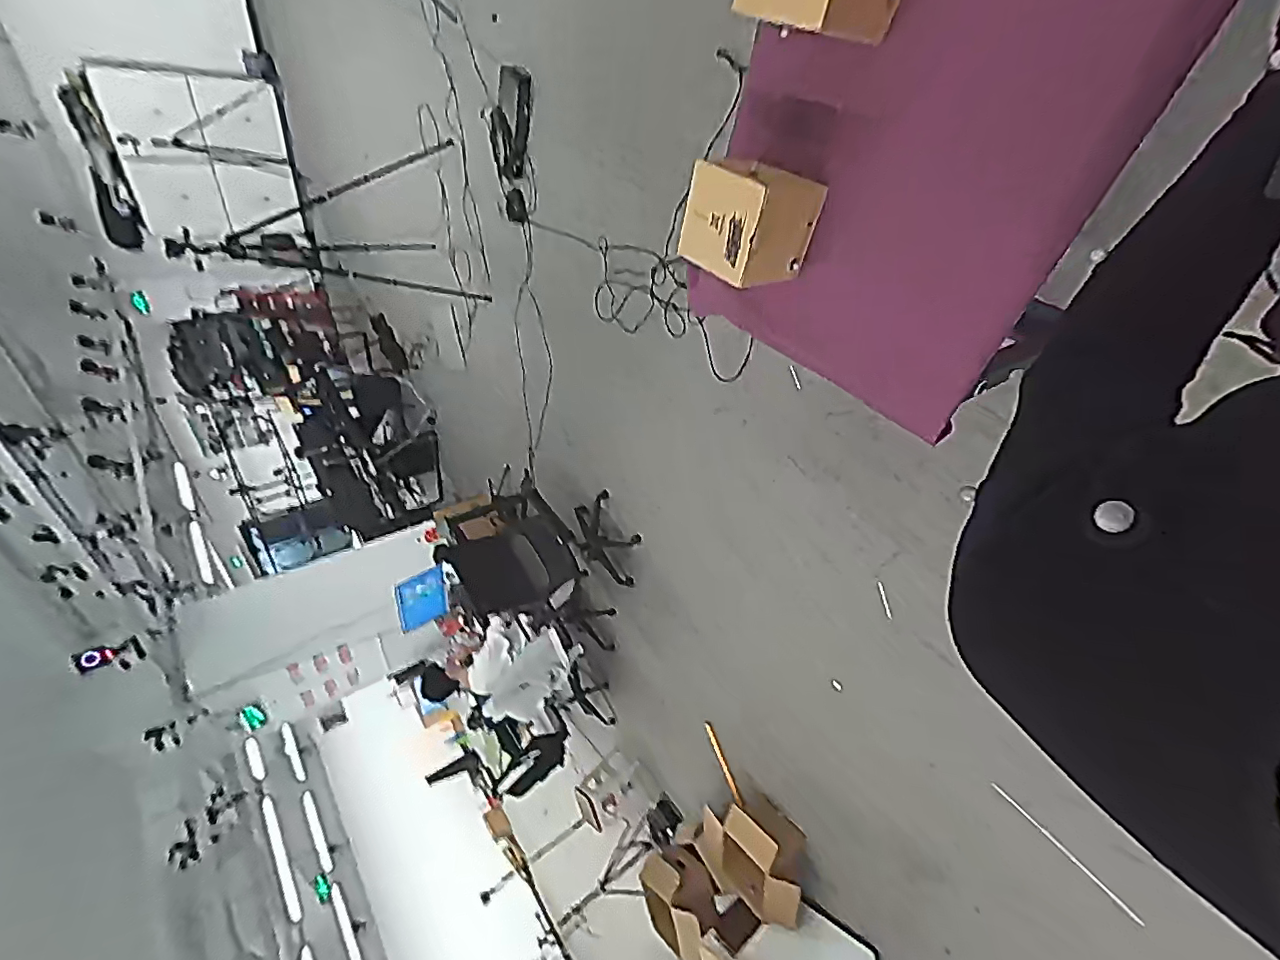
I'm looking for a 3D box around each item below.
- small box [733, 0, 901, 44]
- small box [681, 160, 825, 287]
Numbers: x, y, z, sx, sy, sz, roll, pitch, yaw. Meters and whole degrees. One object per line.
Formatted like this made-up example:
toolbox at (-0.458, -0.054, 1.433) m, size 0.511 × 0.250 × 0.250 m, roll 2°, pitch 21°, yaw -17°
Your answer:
small box at (0.270, -0.744, 0.769) m, size 0.179 × 0.176 × 0.168 m, roll 45°, pitch 141°, yaw 31°
small box at (0.207, -0.479, 1.002) m, size 0.179 × 0.176 × 0.168 m, roll 45°, pitch 139°, yaw 33°
